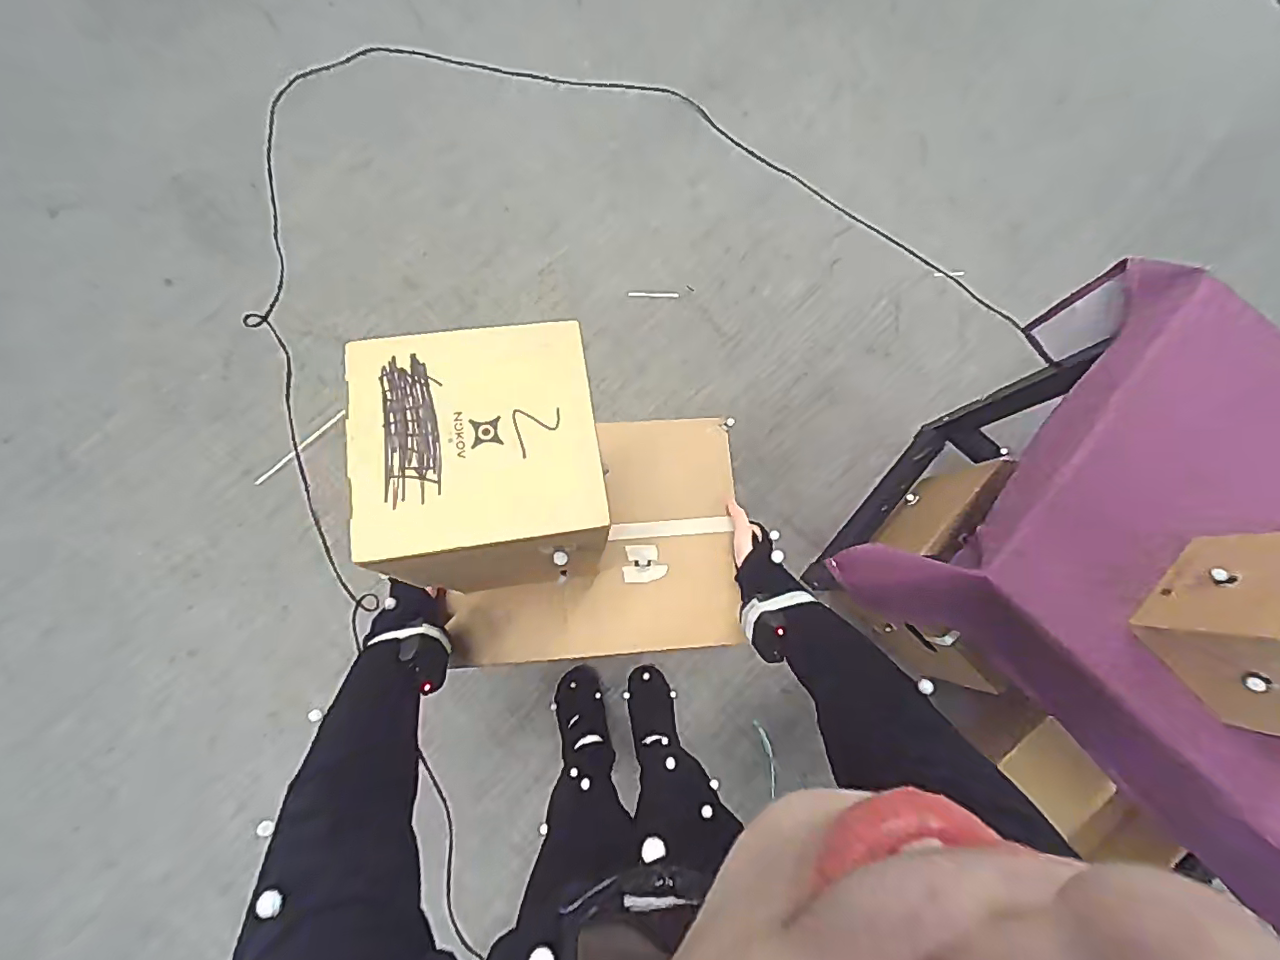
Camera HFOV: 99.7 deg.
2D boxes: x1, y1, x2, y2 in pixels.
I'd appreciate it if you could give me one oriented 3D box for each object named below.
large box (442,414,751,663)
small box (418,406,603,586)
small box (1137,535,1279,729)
[{"bbox_3d":[-0.078,0.101,0.868,0.408,0.320,0.320,-3,77,-6],"label":"large box"},{"bbox_3d":[-0.140,0.027,0.628,0.179,0.176,0.168,-7,76,-5],"label":"small box"},{"bbox_3d":[0.749,0.177,0.623,0.168,0.176,0.179,-43,85,-9],"label":"small box"}]
